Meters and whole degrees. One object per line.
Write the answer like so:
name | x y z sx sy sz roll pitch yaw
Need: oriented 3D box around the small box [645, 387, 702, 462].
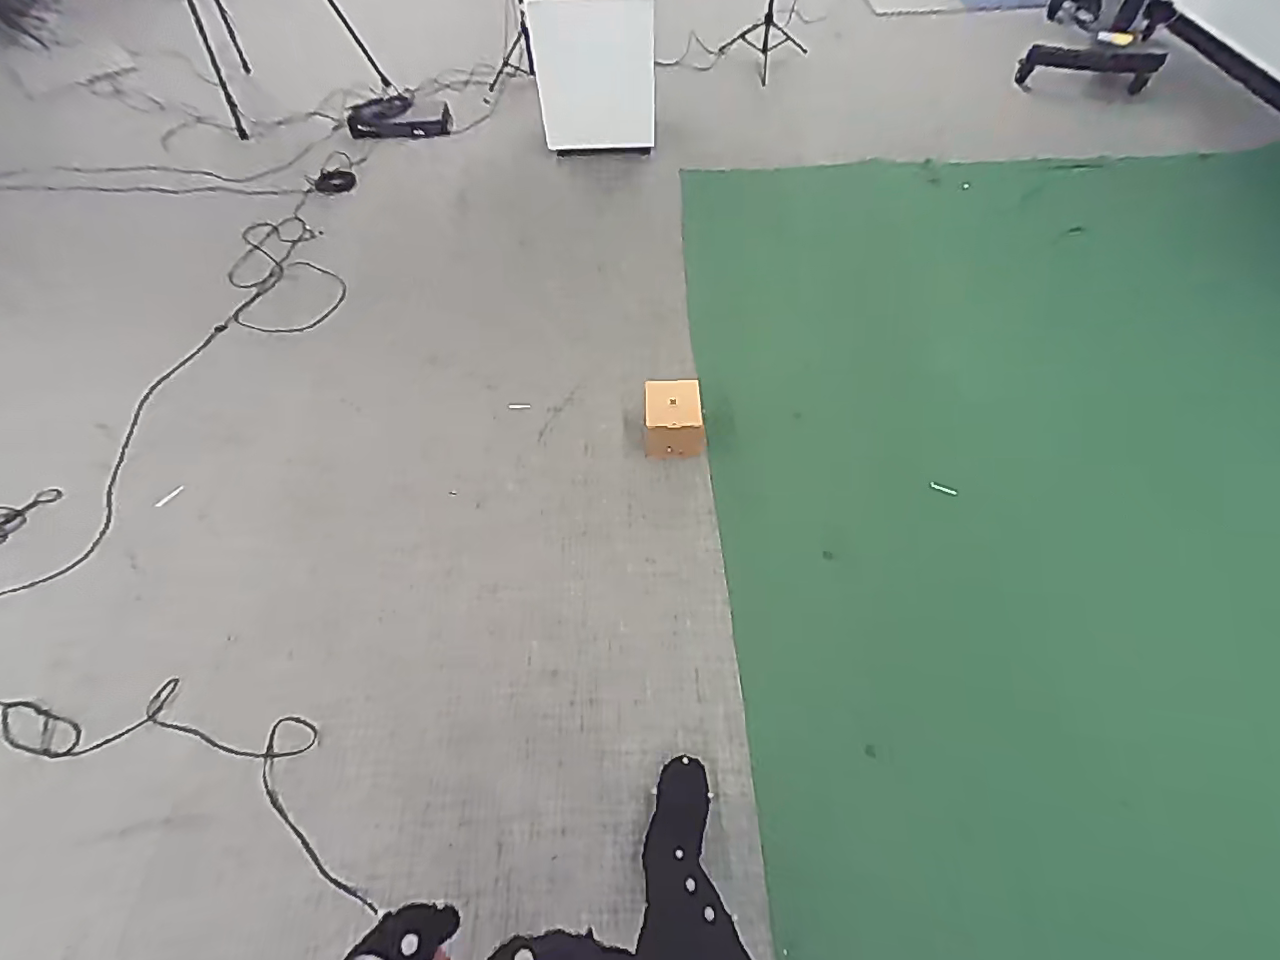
small box | 0.099 -0.172 1.692 0.168 0.176 0.179 -2 59 0
